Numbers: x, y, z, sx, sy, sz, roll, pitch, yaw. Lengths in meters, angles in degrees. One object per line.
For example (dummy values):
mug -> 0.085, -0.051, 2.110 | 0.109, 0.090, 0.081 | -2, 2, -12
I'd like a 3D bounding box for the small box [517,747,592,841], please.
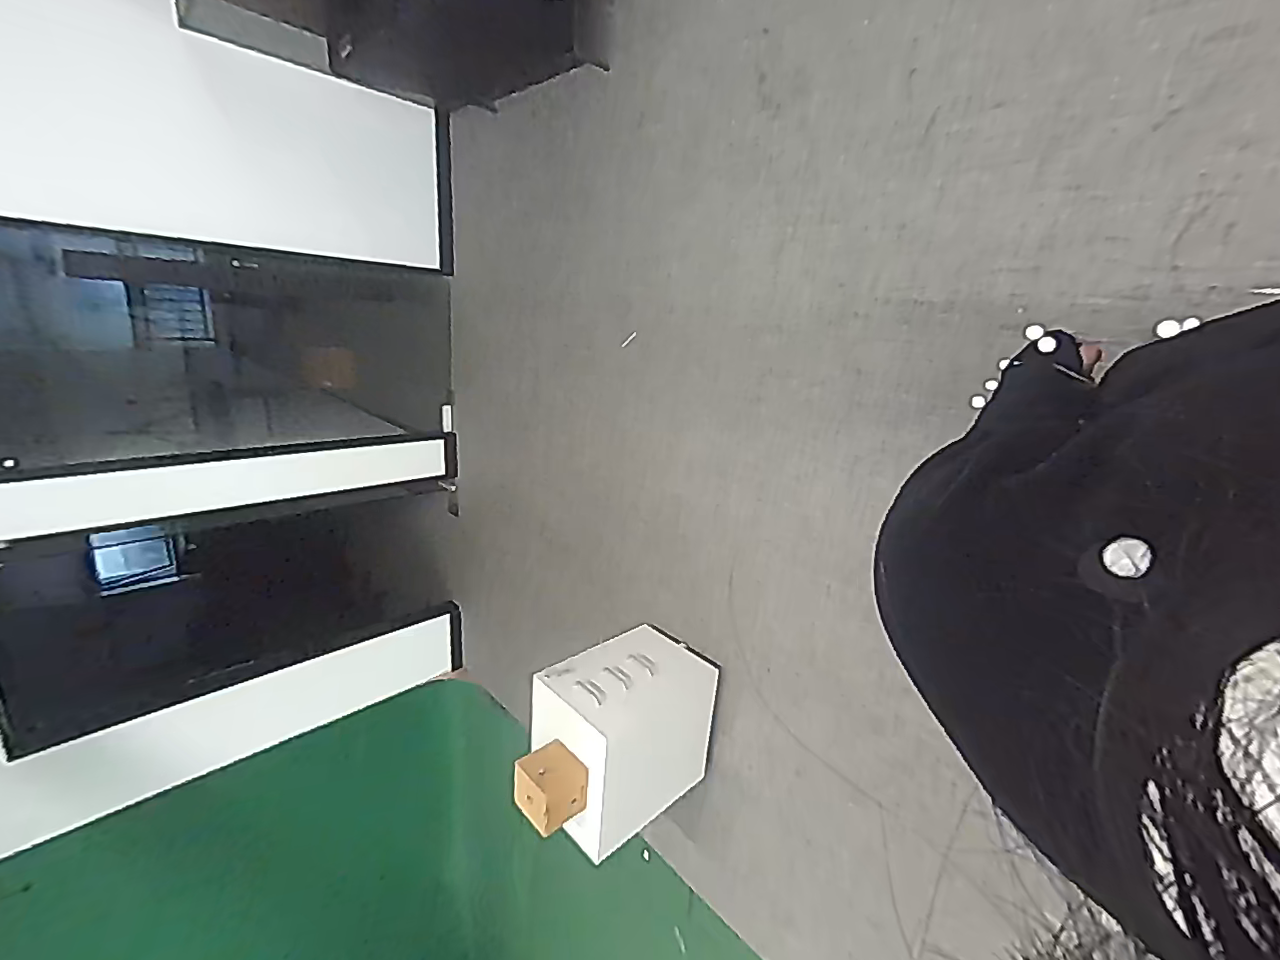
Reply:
small box -> -0.276, 0.991, 1.731 | 0.179, 0.176, 0.168 | 20, 112, 43
